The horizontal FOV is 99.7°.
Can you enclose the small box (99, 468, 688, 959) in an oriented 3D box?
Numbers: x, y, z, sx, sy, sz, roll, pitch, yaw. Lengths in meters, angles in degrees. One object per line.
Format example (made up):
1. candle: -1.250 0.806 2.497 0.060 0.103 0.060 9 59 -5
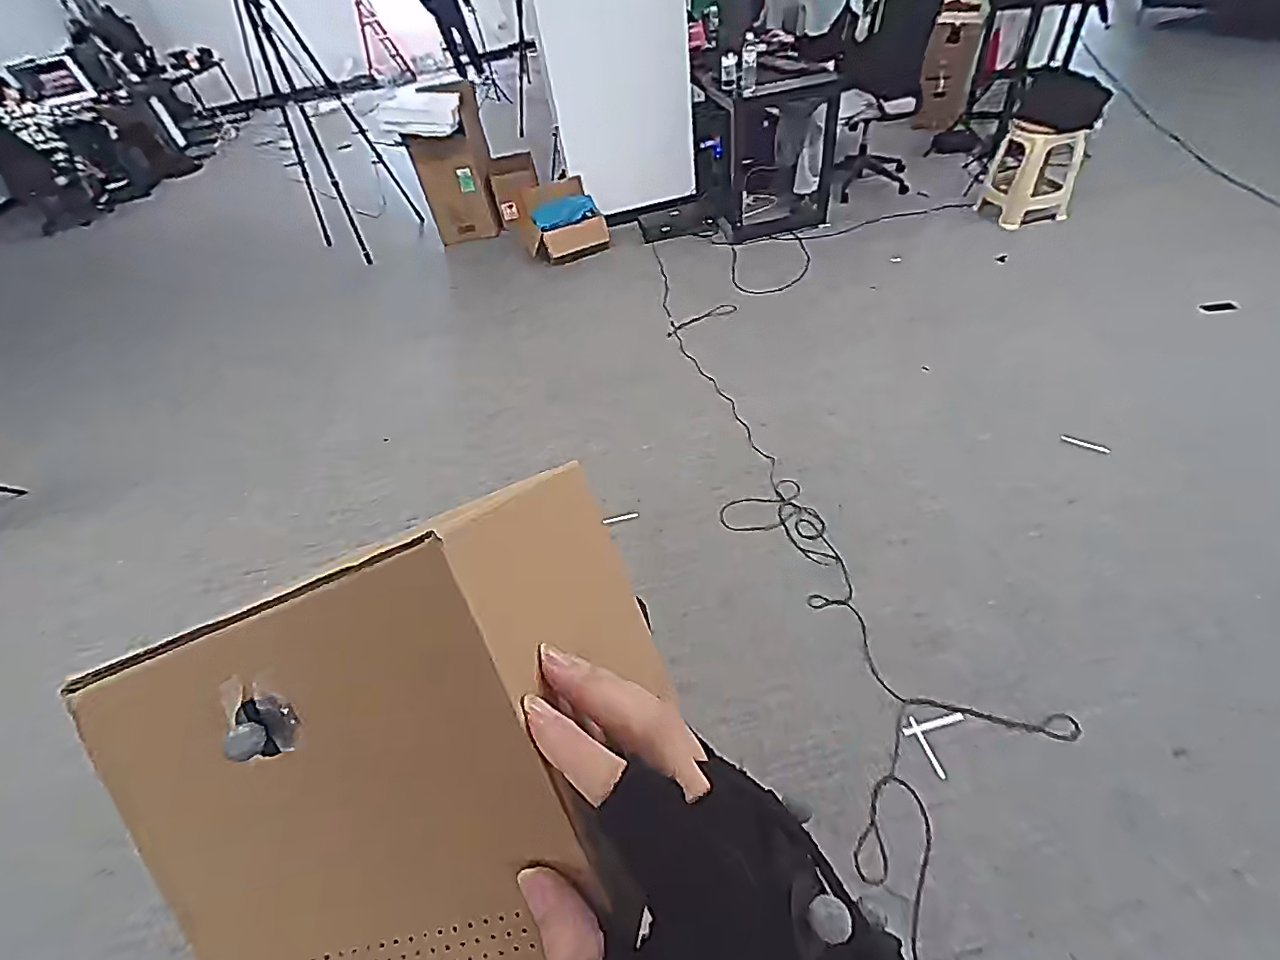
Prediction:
1. small box: -0.093 0.113 0.277 0.179 0.176 0.168 -22 6 12
